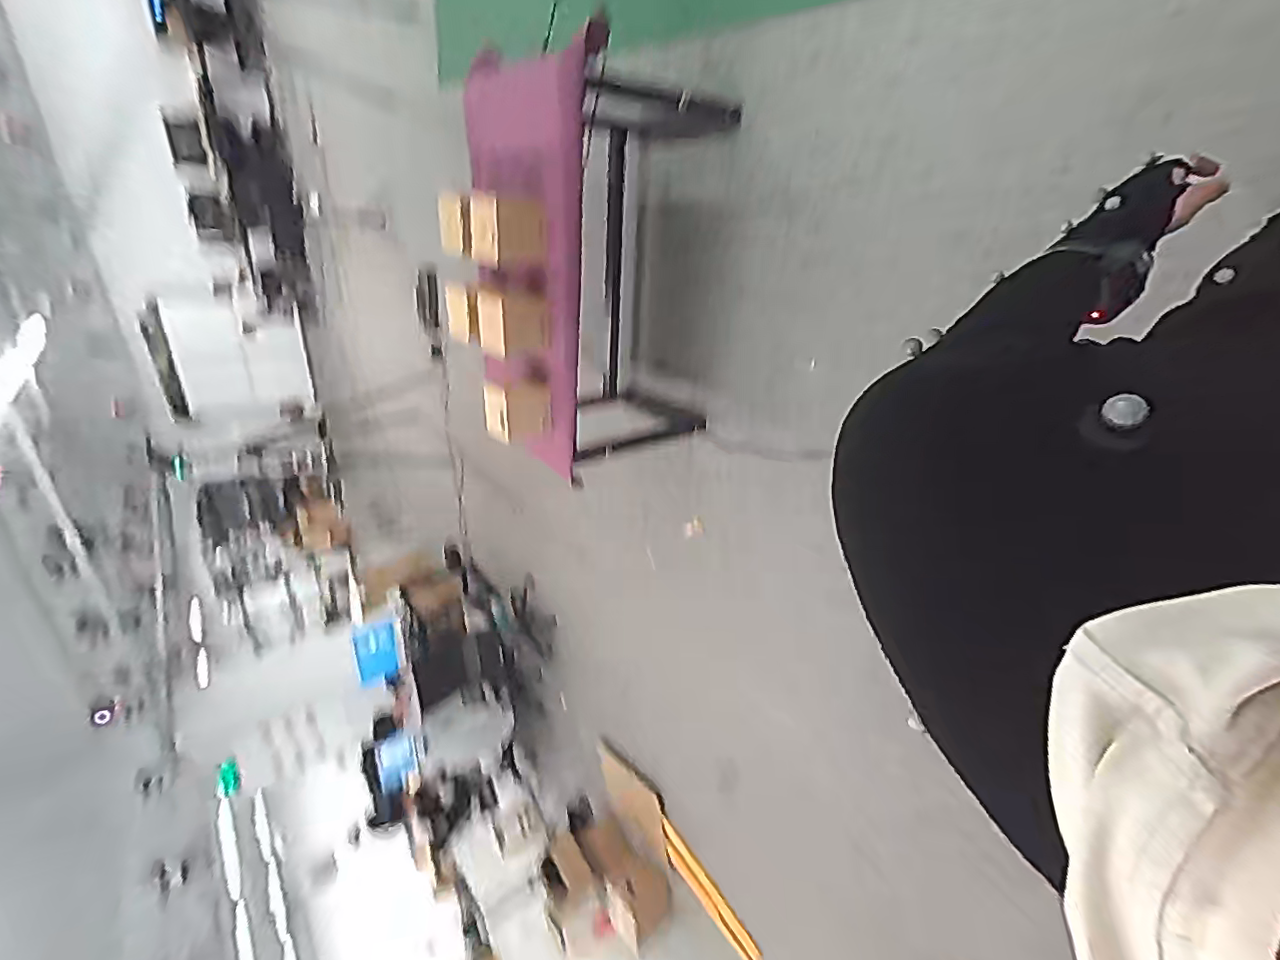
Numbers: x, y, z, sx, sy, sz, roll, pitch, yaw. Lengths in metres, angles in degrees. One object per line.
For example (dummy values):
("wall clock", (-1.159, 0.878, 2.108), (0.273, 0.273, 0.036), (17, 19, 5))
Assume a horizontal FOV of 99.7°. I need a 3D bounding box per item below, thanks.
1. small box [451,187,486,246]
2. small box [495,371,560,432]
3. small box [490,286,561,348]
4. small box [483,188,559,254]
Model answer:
("small box", (-0.516, -0.884, 1.818), (0.179, 0.176, 0.168), (33, 129, 42))
("small box", (-0.390, -0.280, 1.894), (0.179, 0.176, 0.168), (30, 126, 47))
("small box", (-0.376, -0.540, 1.773), (0.179, 0.176, 0.168), (32, 129, 43))
("small box", (-0.362, -0.787, 1.649), (0.179, 0.176, 0.168), (34, 130, 43))
